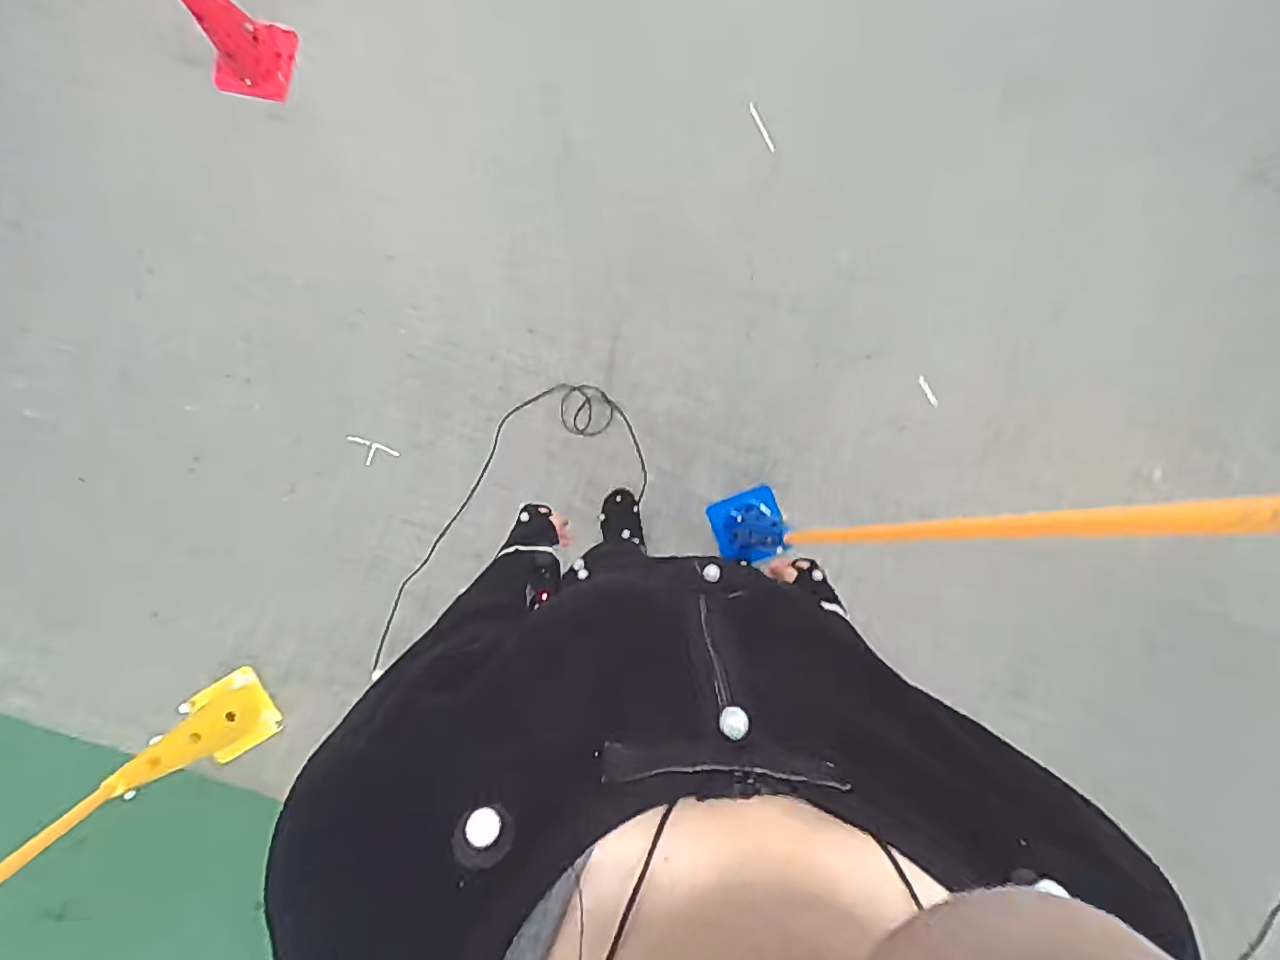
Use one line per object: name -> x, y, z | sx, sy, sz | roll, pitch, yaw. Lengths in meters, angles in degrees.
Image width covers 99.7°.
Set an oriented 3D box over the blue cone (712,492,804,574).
blue cone -> 0.318, 0.137, 1.333 | 0.193, 0.380, 0.192 | -22, 90, -4
